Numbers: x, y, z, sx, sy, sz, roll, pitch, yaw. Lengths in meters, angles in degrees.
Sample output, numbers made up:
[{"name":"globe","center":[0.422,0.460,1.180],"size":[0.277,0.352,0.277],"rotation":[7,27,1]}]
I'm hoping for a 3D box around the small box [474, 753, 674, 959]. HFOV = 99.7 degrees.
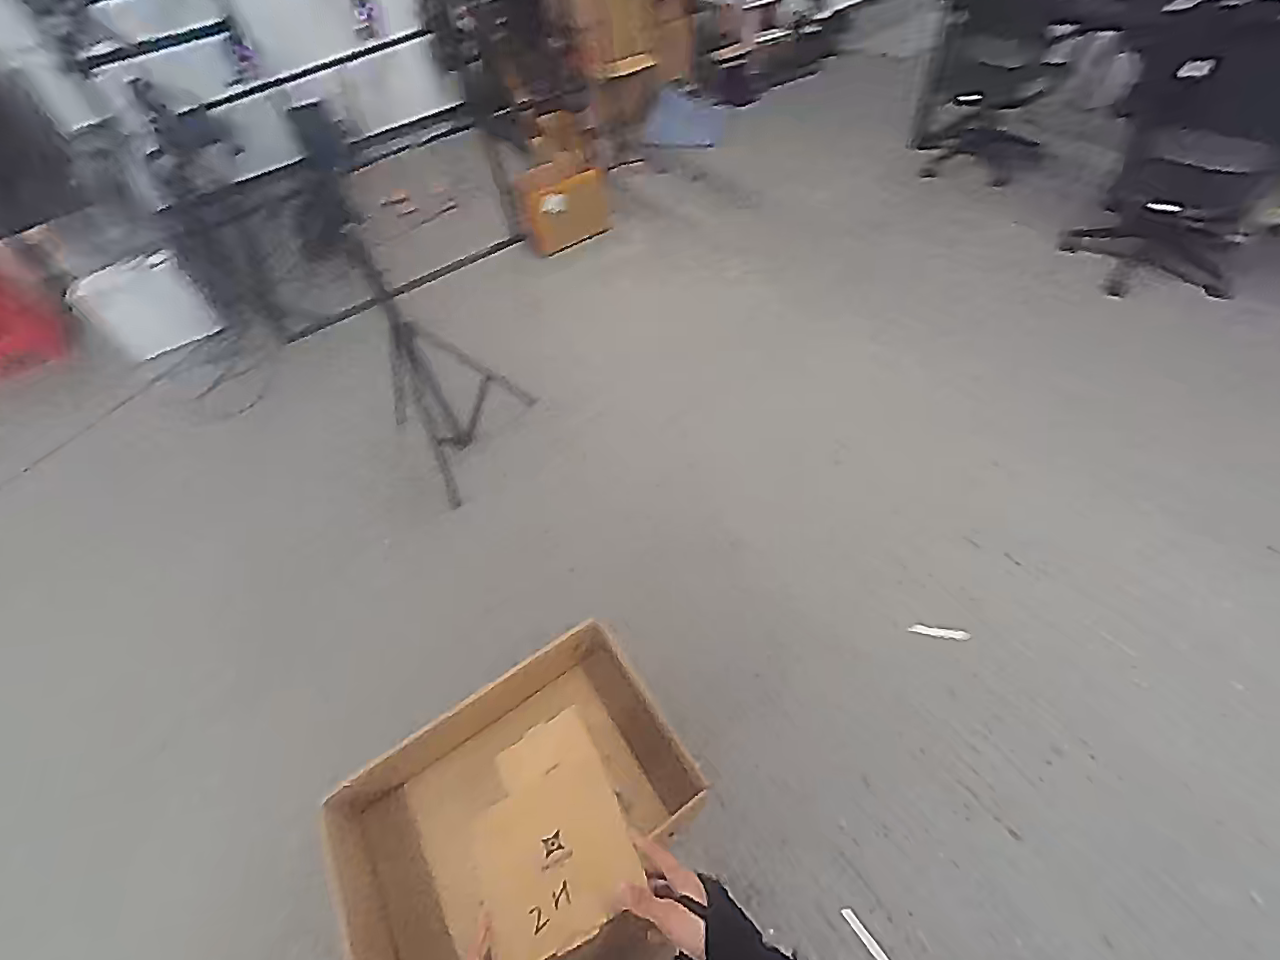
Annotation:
[{"name":"small box","center":[-0.077,0.473,0.632],"size":[0.168,0.176,0.179],"rotation":[-22,34,-14]}]
